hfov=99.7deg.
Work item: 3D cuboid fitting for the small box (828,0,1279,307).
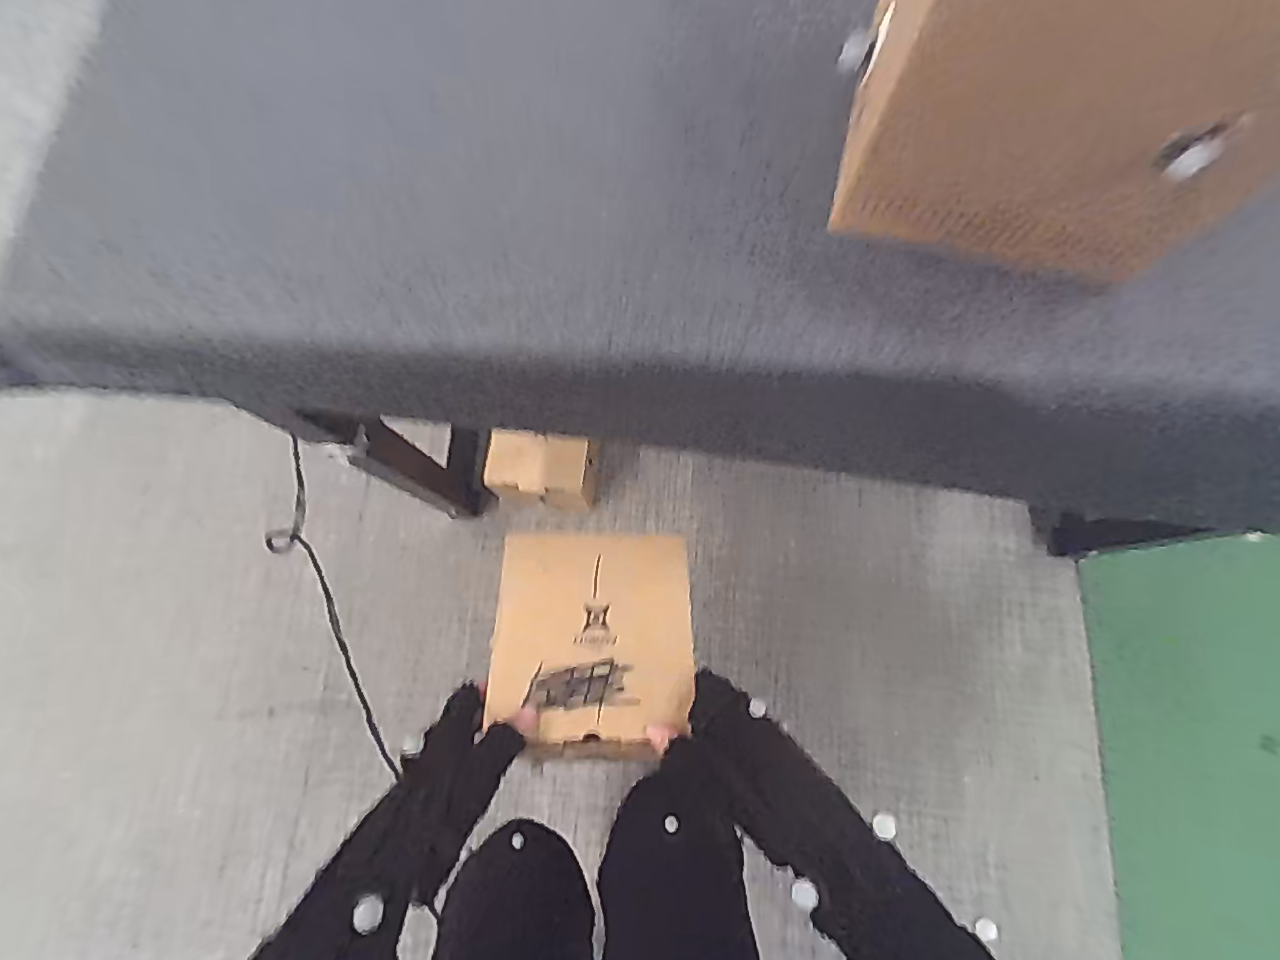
[{"bbox_3d":[0.219,-0.214,0.276,0.179,0.176,0.168,13,74,5],"label":"small box"}]
